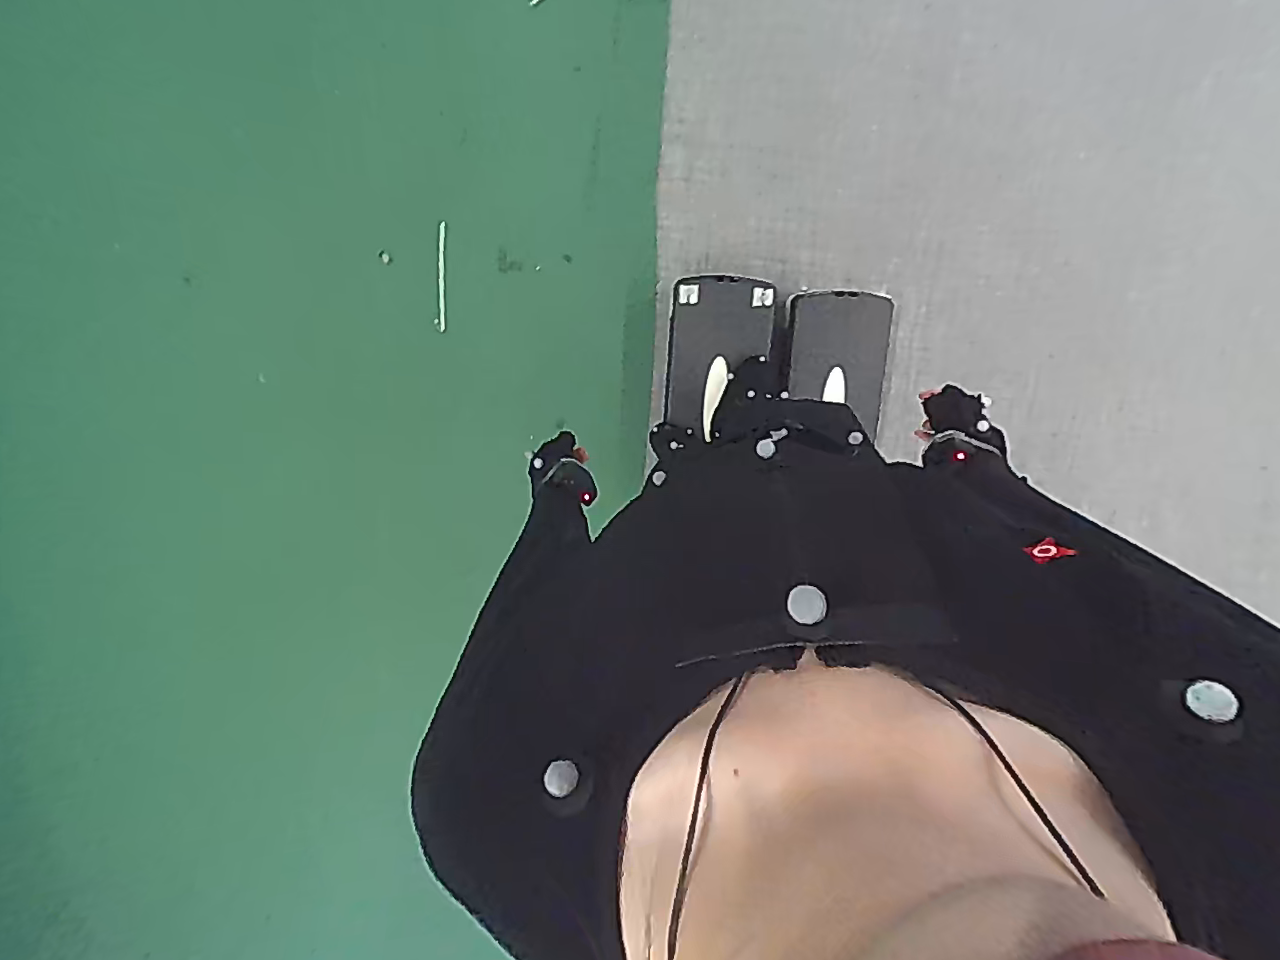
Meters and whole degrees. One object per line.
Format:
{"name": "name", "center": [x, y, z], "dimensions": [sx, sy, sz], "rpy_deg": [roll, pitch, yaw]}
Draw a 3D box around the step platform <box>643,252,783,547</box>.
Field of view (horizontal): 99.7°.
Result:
{"name": "step platform", "center": [0.168, -0.188, 1.352], "dimensions": [0.286, 0.204, 0.684], "rpy_deg": [3, 102, 2]}
